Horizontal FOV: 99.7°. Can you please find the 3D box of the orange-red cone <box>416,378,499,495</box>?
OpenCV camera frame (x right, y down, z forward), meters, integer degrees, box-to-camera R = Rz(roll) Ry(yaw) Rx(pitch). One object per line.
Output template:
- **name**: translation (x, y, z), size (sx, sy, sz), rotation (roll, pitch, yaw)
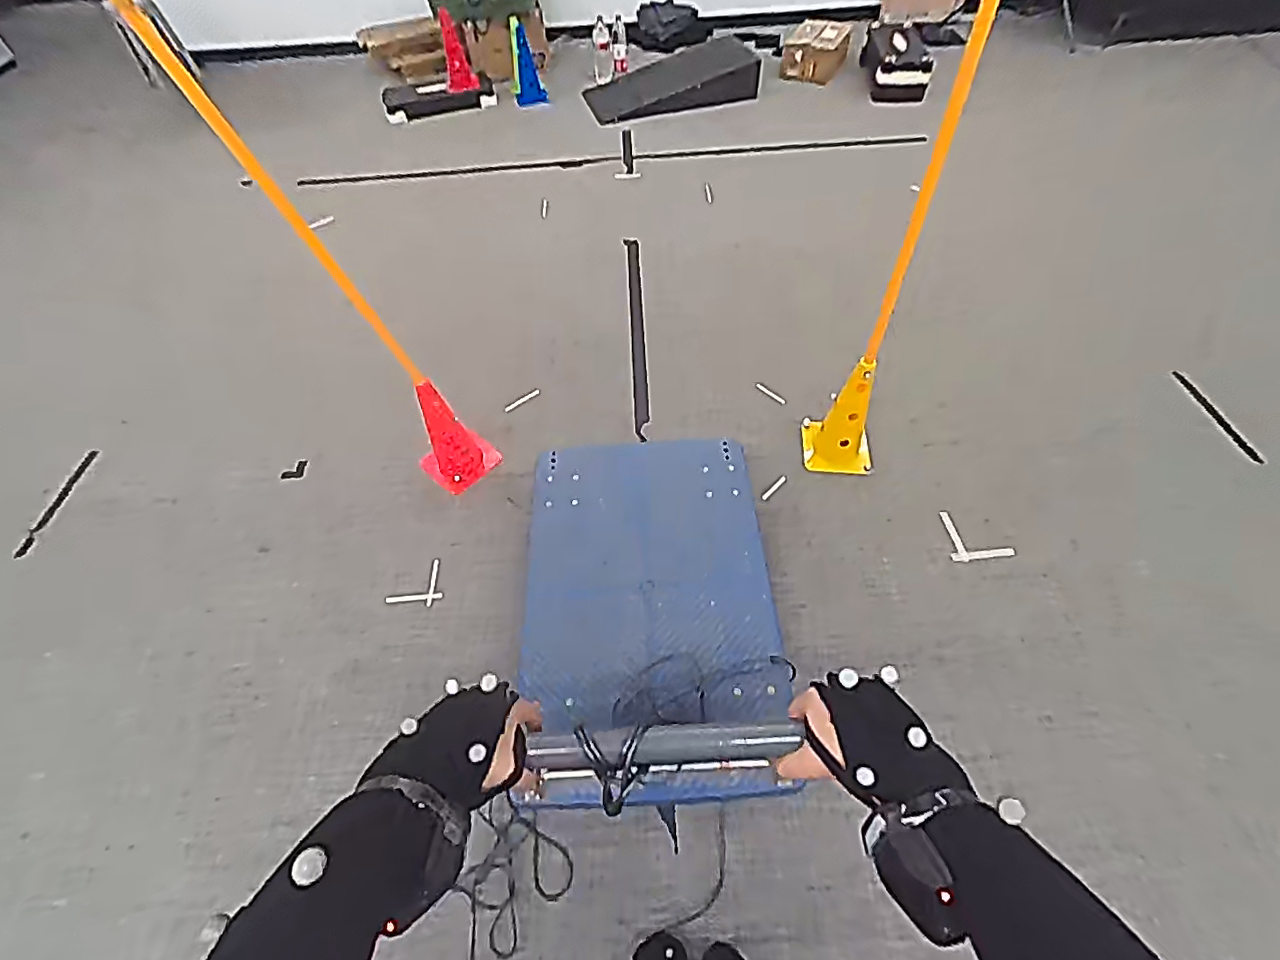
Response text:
- **orange-red cone**: translation (-0.576, -0.157, 1.583), size (0.198, 0.360, 0.199), rotation (36, 62, 24)
